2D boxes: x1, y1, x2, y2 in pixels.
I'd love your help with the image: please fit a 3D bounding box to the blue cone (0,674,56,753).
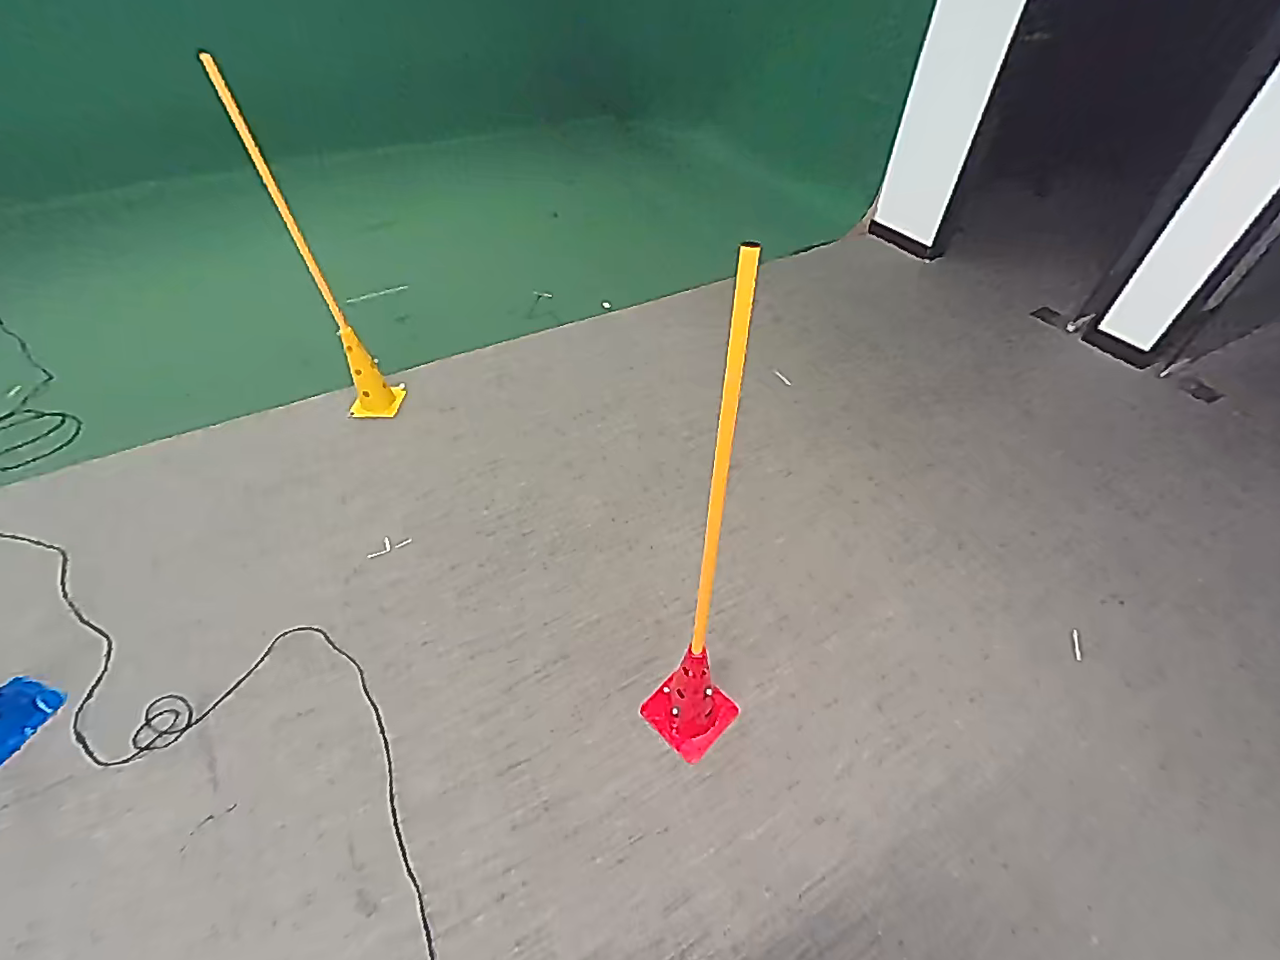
[{"bbox_3d":[-1.688,0.516,1.307,0.192,0.380,0.193,13,51,11],"label":"blue cone"}]
